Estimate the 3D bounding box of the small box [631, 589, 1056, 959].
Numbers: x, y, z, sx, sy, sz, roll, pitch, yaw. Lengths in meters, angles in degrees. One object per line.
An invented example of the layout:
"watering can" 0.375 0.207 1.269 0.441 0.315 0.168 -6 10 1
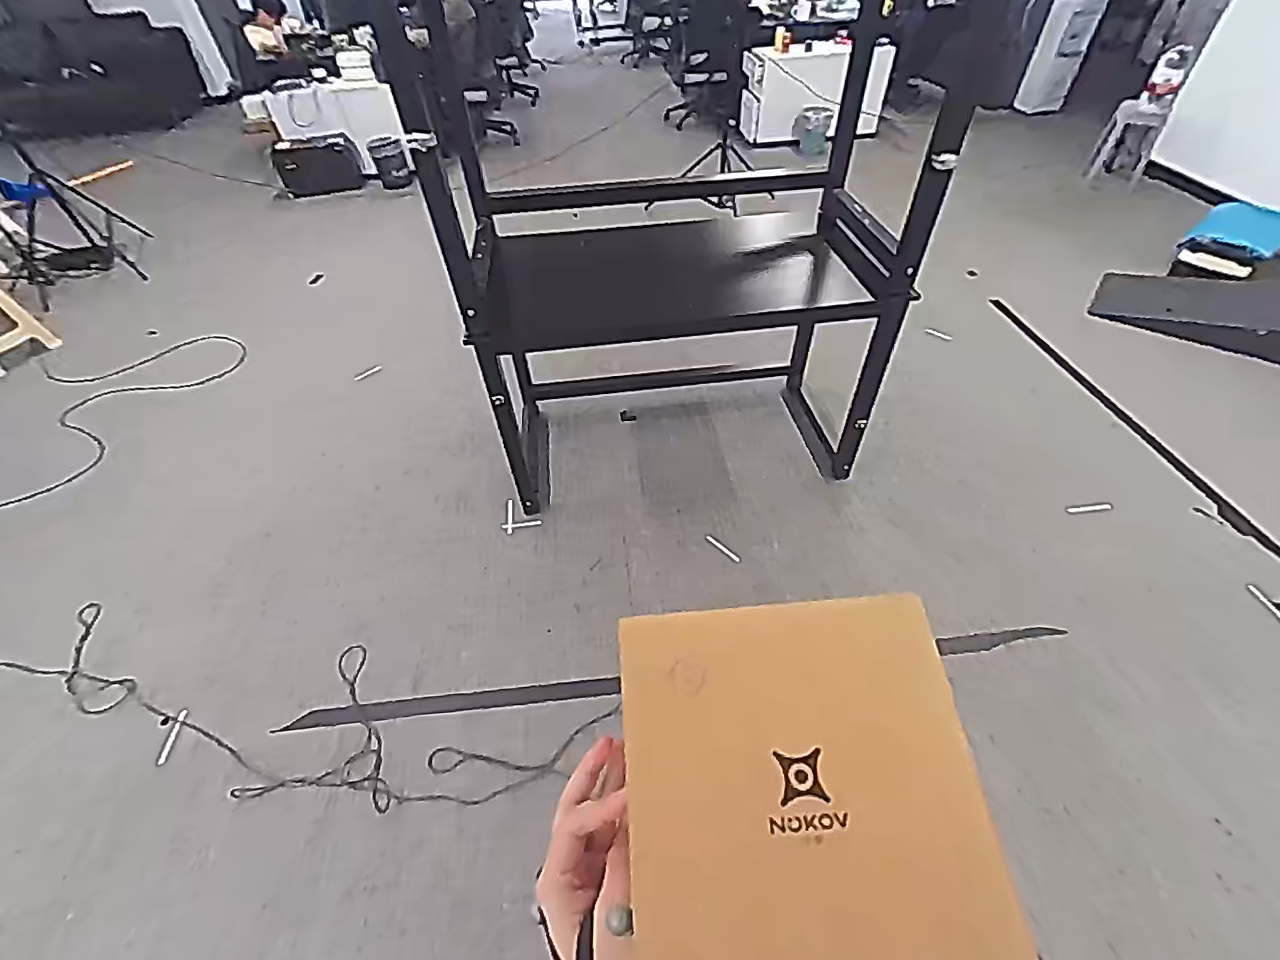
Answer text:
"small box" 0.082 0.178 0.318 0.168 0.176 0.179 -5 61 0
